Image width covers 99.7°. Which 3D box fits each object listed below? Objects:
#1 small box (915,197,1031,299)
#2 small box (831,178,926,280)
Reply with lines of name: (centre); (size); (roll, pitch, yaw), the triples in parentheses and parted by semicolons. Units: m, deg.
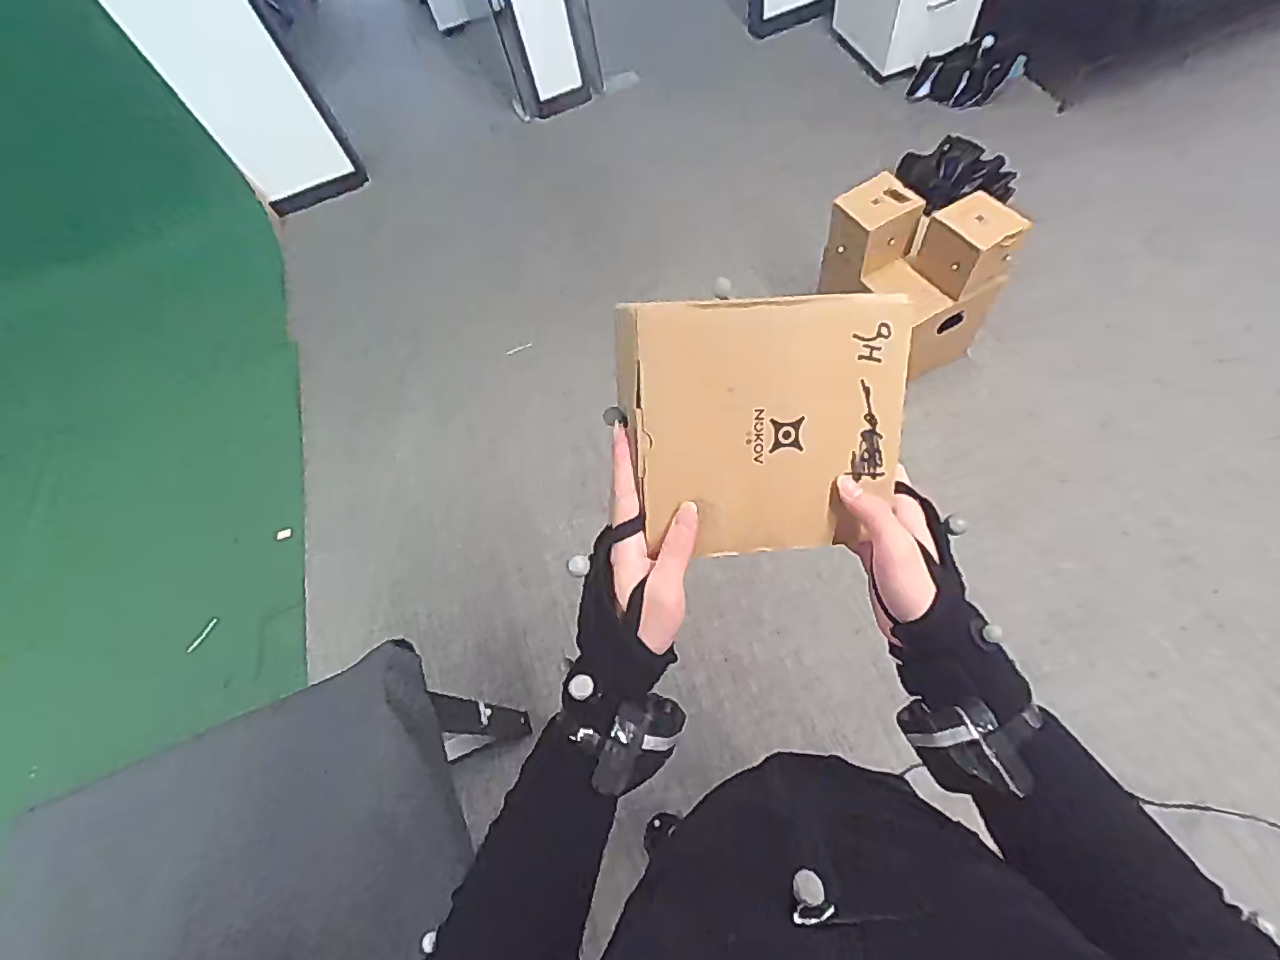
small box: (0.885, -0.614, 1.457); (0.168, 0.176, 0.179); (-28, 60, -9)
small box: (0.671, -0.712, 1.545); (0.179, 0.176, 0.168); (-28, 61, -1)
